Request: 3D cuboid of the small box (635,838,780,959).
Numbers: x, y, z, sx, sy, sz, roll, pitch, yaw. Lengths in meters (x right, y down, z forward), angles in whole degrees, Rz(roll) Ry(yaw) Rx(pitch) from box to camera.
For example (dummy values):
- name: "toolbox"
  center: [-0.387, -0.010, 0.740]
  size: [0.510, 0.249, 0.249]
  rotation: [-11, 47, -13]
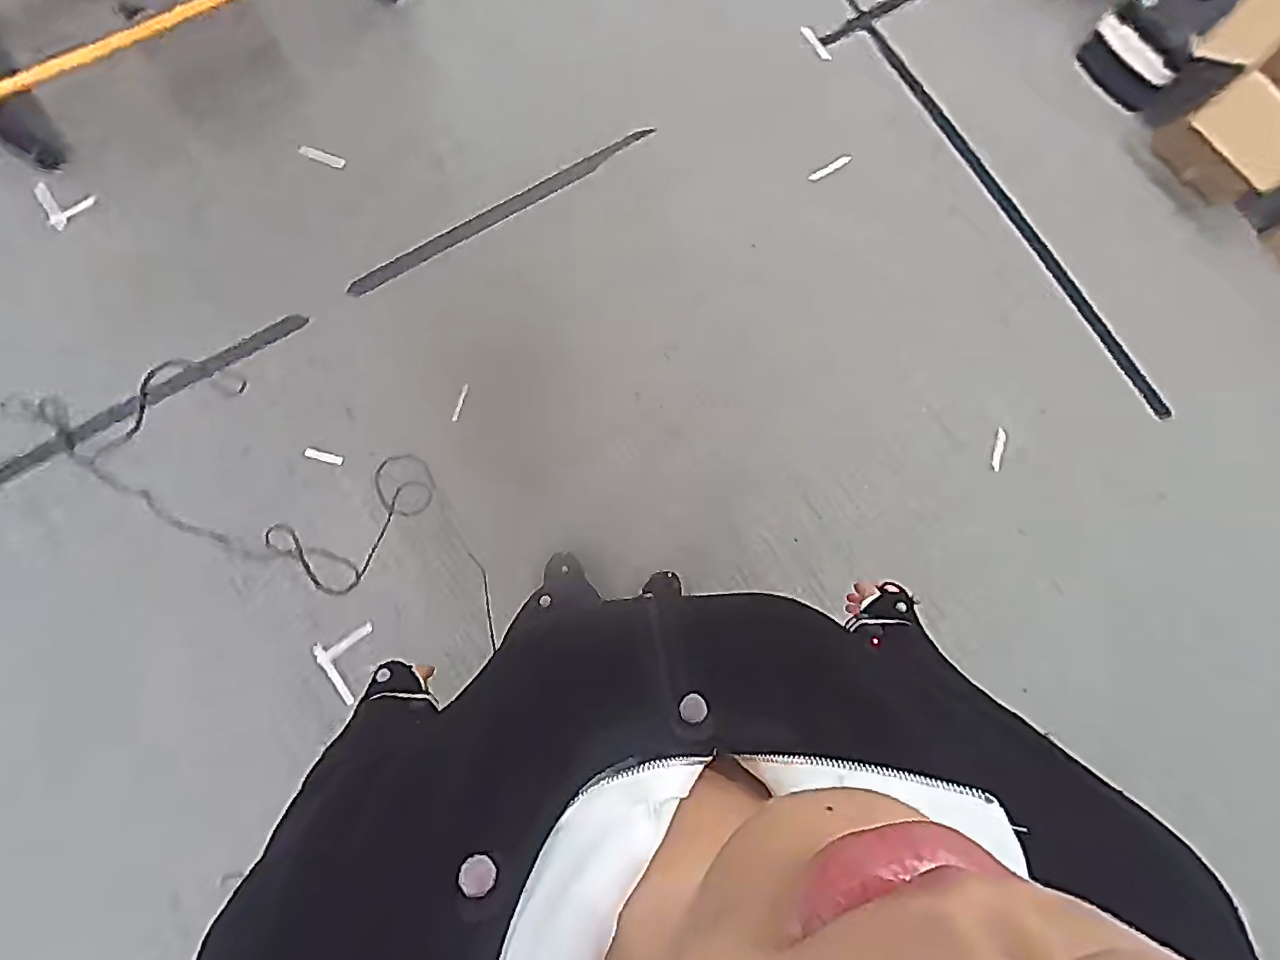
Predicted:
- name: "small box"
  center: [0.102, 0.714, 0.862]
  size: [0.168, 0.176, 0.179]
  rotation: [-30, 82, -8]
